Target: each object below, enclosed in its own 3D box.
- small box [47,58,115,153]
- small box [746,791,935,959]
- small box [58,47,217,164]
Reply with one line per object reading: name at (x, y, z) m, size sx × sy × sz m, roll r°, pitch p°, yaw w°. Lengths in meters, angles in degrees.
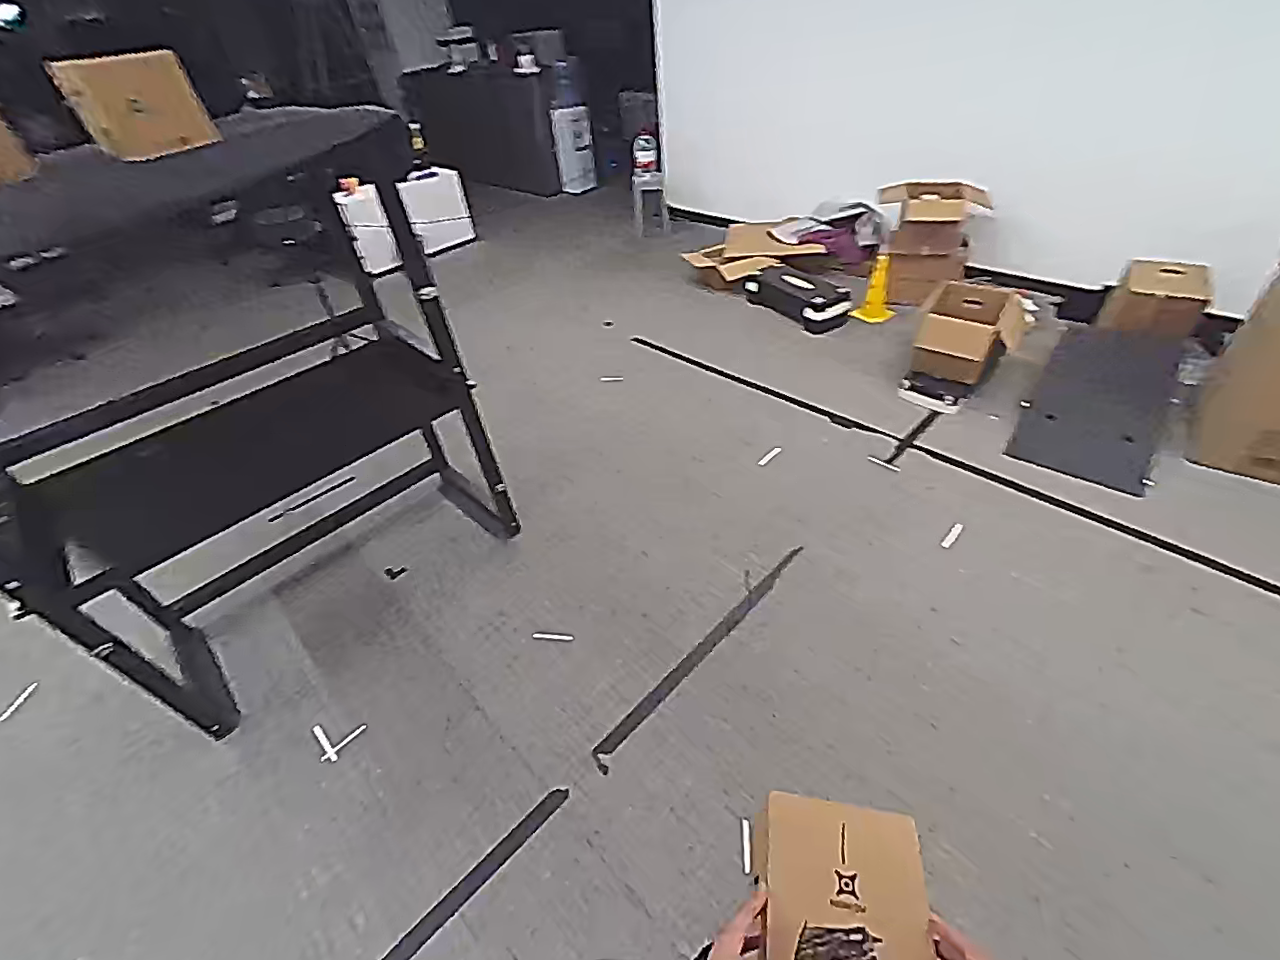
small box at (-1.202, -0.872, 1.253) m, size 0.179 × 0.176 × 0.168 m, roll 30°, pitch 54°, yaw 34°
small box at (0.213, 0.485, 0.614) m, size 0.168 × 0.176 × 0.179 m, roll 5°, pitch 46°, yaw 7°
small box at (-1.007, -0.754, 1.095) m, size 0.179 × 0.176 × 0.168 m, roll 28°, pitch 53°, yaw 35°
